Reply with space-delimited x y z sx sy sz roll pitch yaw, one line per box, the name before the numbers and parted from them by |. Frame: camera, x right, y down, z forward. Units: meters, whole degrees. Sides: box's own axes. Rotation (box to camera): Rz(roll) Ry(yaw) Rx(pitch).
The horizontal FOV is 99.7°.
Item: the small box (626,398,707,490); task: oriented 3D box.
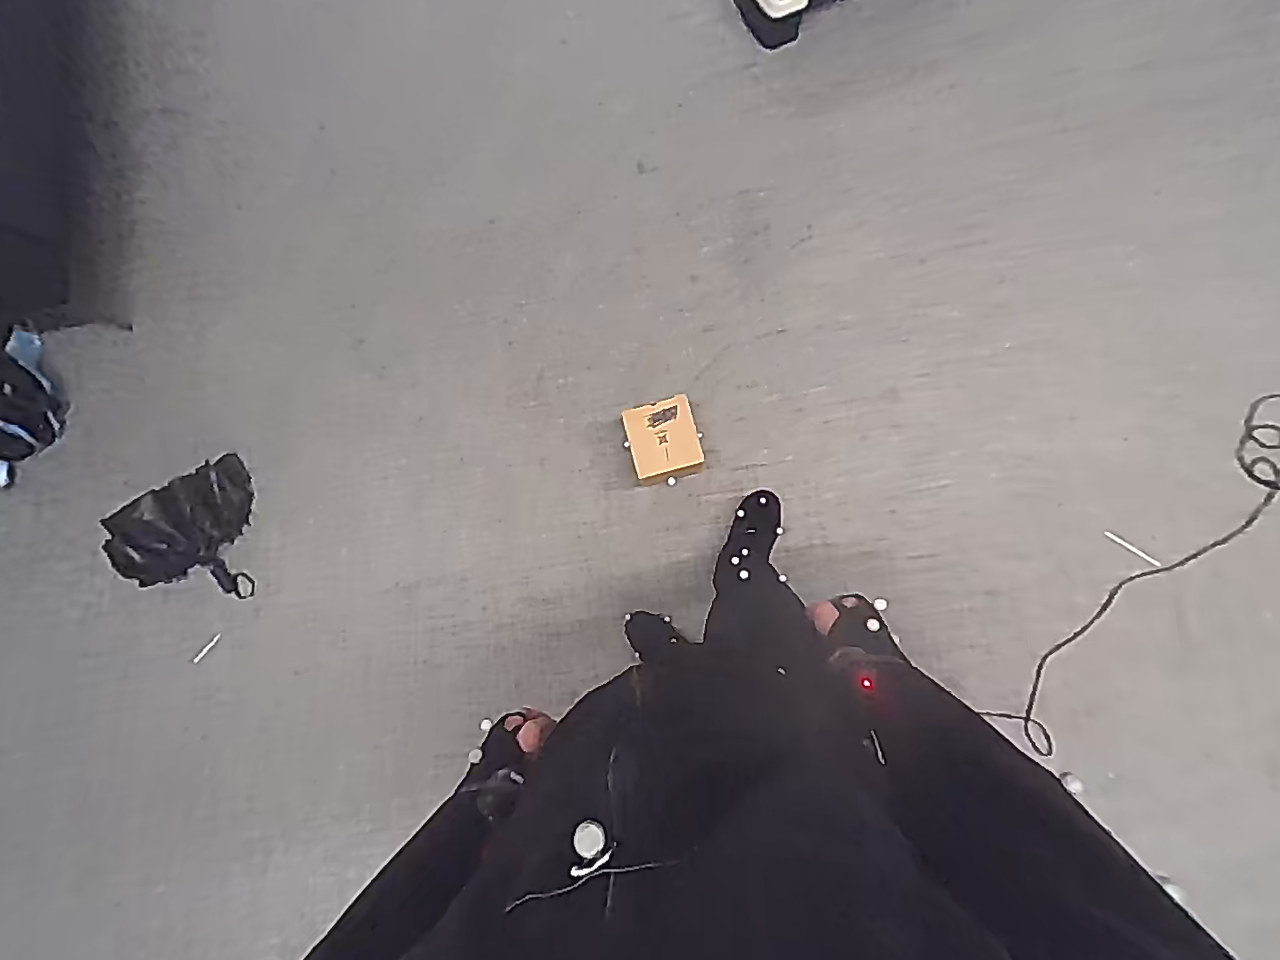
small box | 0.068 -0.085 1.375 0.168 0.176 0.179 -15 82 3
